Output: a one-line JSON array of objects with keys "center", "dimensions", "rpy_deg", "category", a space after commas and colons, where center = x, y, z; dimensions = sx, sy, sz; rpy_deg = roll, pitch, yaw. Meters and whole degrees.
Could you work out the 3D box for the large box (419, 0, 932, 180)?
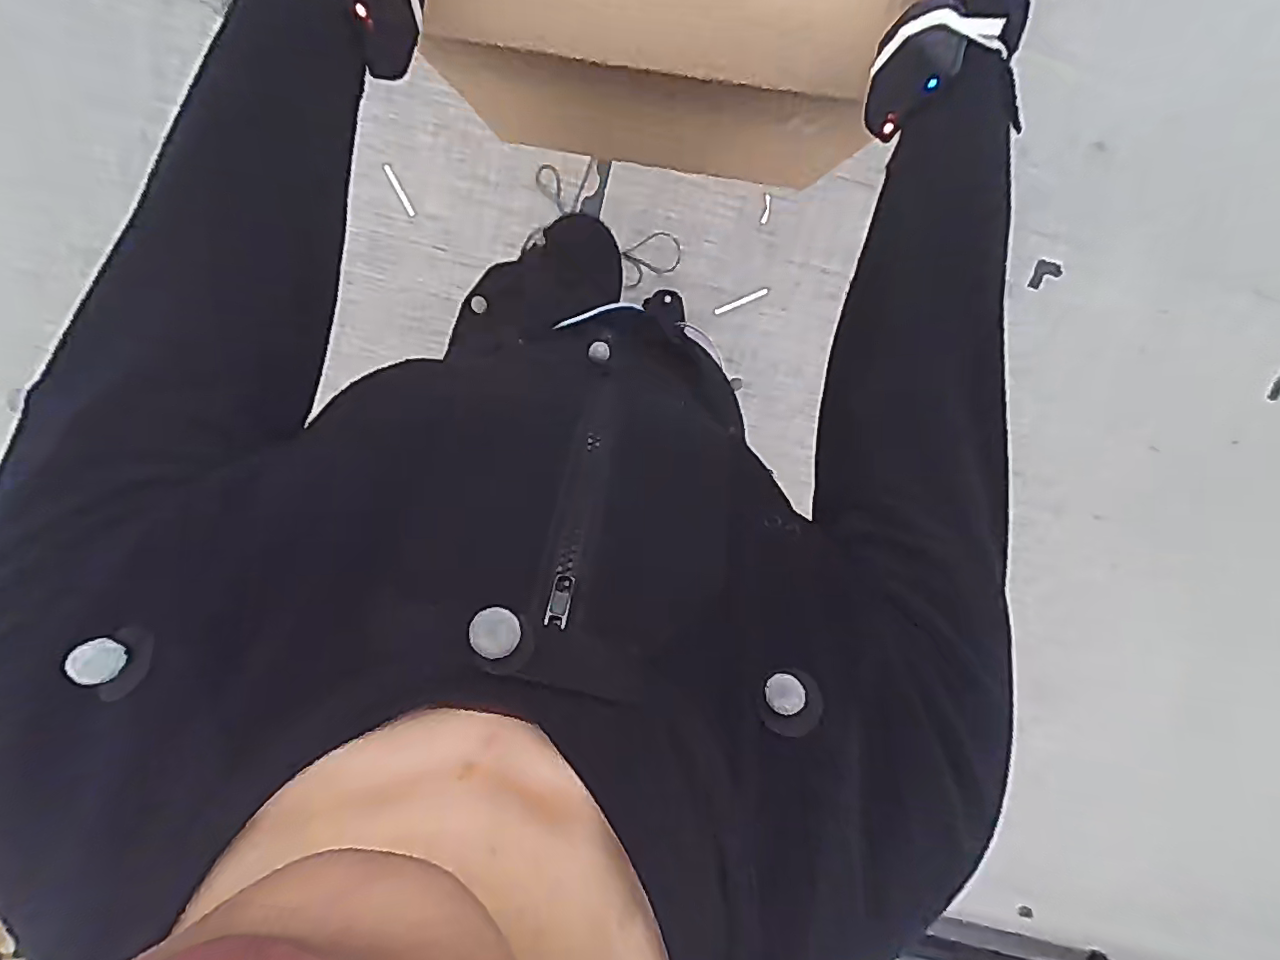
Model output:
[{"center": [0.038, -0.516, 0.526], "dimensions": [0.408, 0.320, 0.320], "rpy_deg": [7, 109, -2], "category": "large box"}]
